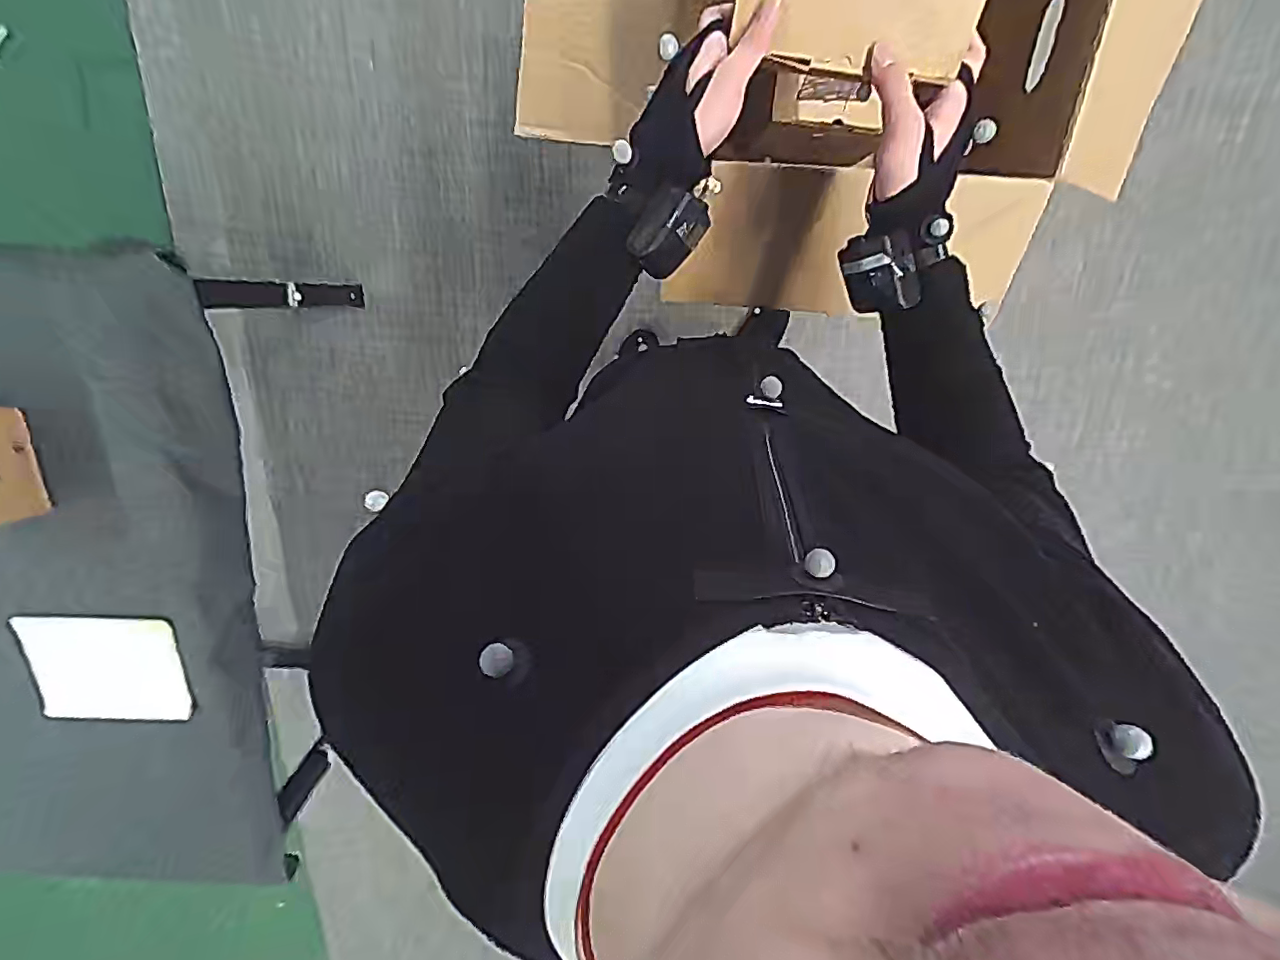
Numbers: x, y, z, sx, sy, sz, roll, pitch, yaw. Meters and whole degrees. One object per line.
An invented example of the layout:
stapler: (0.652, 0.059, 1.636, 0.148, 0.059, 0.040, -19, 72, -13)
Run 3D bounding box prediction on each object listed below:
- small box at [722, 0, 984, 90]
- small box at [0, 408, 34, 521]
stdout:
small box: (0.158, -0.402, 0.396, 0.168, 0.176, 0.179, 9, 125, 2)
small box: (-1.019, -0.011, 0.752, 0.179, 0.176, 0.168, 3, 108, -2)
